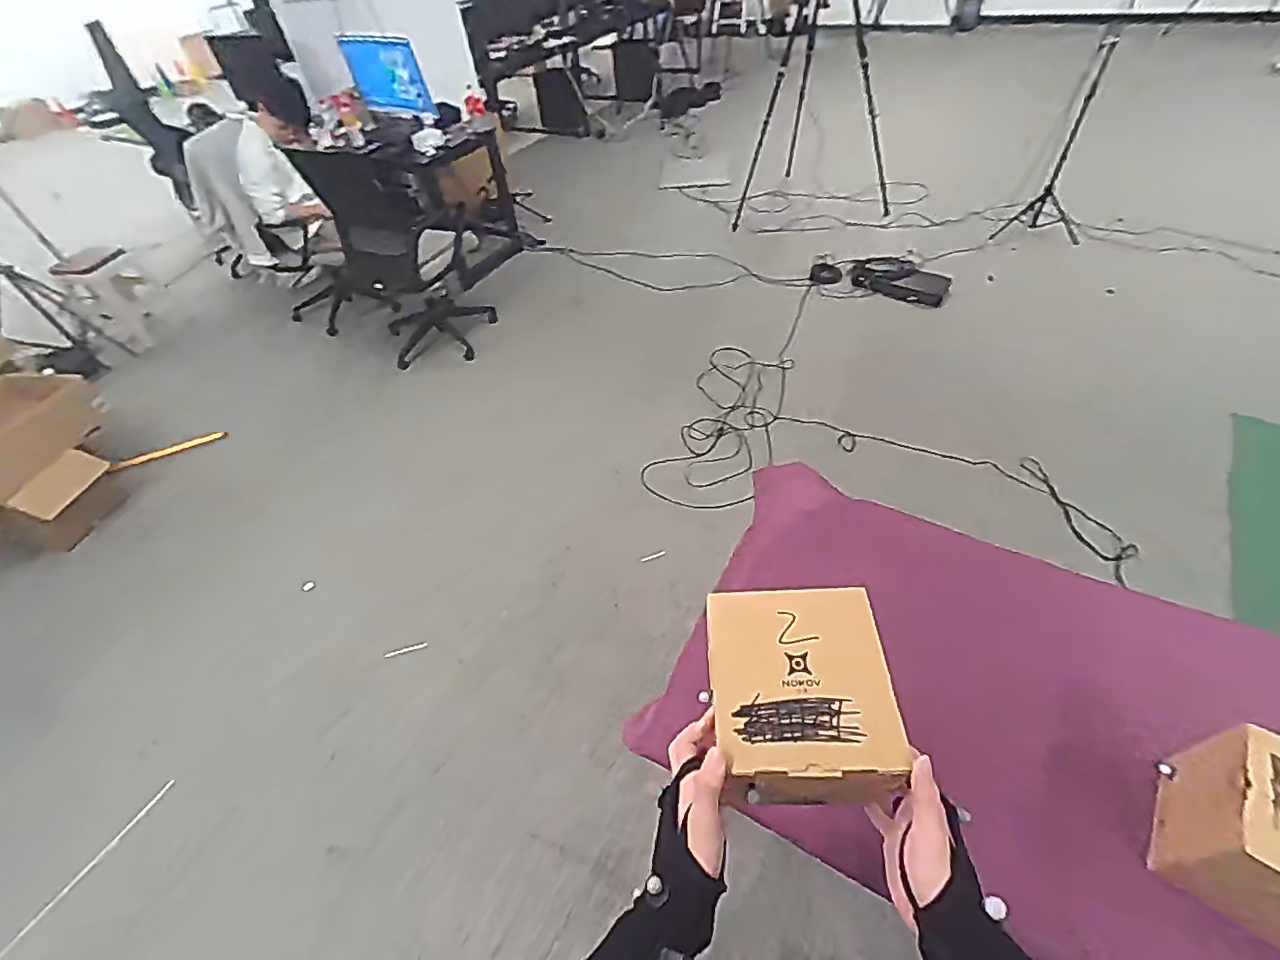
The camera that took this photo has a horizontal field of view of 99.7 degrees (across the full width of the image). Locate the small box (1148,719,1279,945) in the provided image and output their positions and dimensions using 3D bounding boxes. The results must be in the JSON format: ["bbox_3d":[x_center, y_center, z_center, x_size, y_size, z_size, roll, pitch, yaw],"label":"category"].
[{"bbox_3d":[0.763,0.429,0.642,0.179,0.176,0.168,28,58,26],"label":"small box"}]
